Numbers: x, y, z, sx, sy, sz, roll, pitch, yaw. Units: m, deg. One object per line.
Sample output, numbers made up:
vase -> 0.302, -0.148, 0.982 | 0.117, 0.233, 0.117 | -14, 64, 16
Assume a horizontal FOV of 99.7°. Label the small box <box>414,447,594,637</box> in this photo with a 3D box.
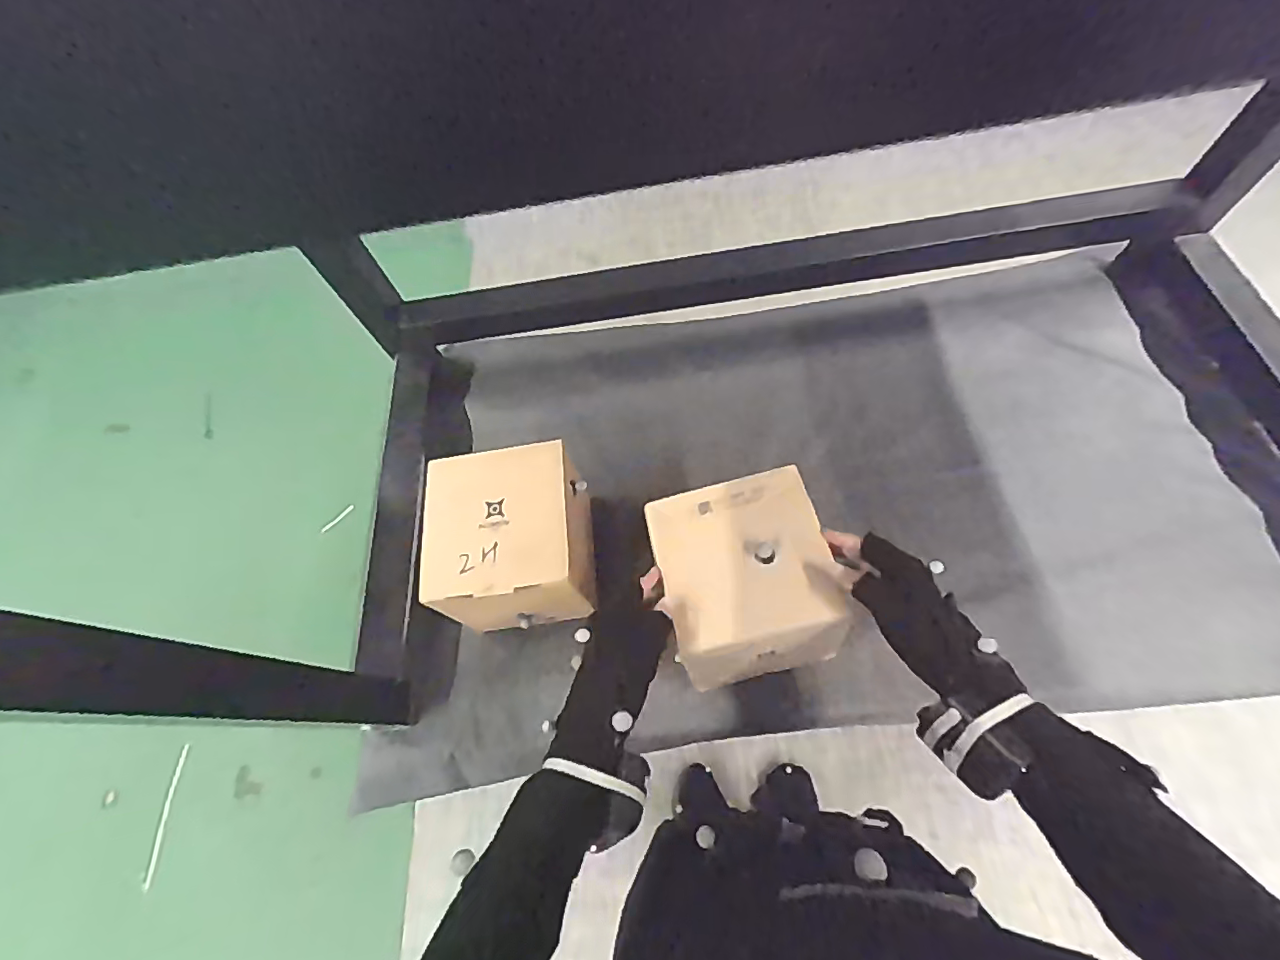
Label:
small box -> -0.155, 0.083, 0.673 | 0.168, 0.176, 0.179 | -9, 62, 4
